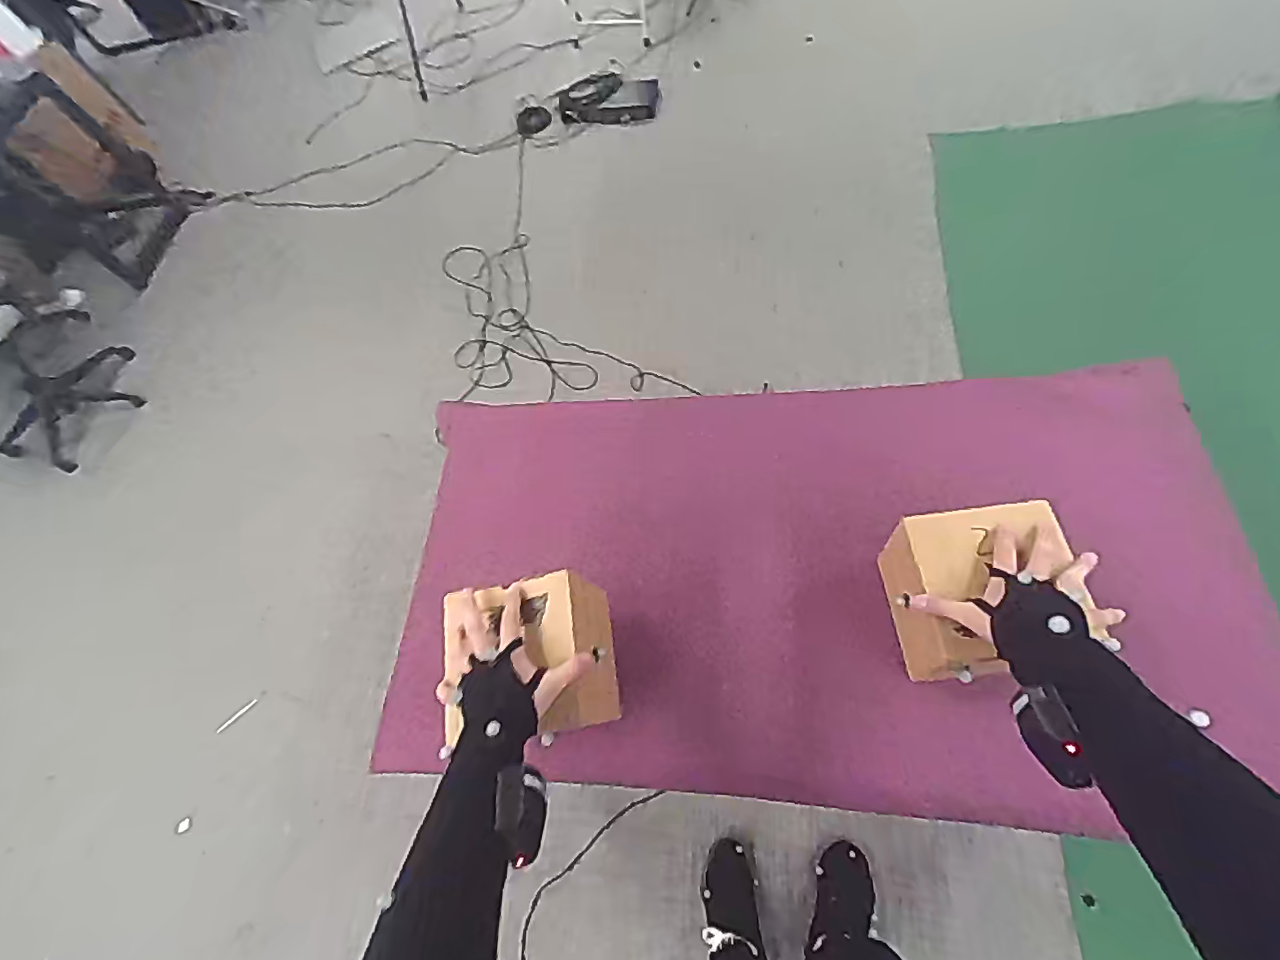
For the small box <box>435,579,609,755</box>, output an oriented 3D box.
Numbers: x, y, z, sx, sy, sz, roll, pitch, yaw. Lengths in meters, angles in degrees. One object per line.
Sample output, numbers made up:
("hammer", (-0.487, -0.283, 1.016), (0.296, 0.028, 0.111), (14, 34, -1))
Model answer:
("small box", (-0.146, 0.242, 0.702), (0.168, 0.176, 0.179), (-13, 68, 8))
